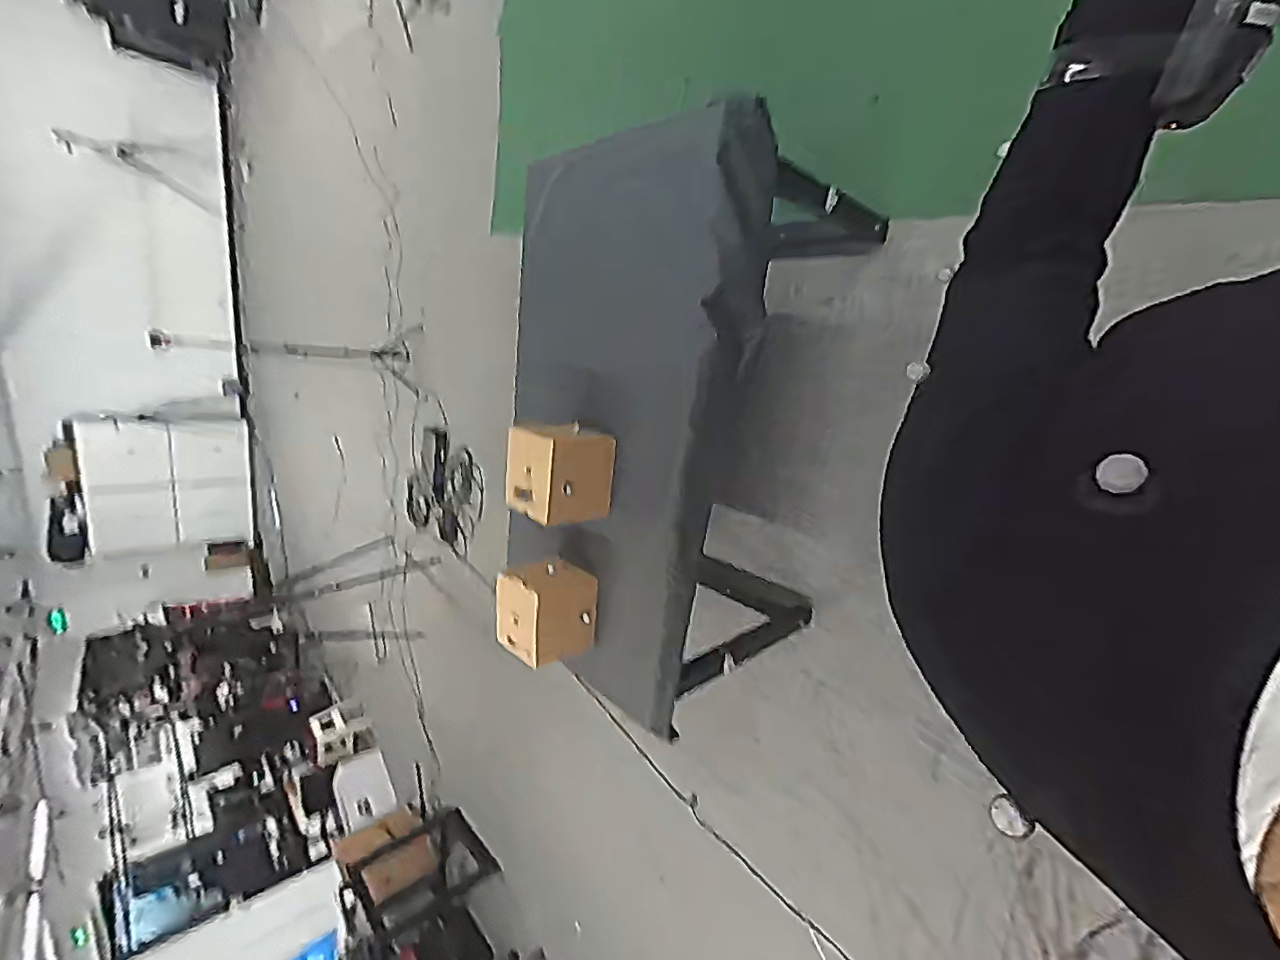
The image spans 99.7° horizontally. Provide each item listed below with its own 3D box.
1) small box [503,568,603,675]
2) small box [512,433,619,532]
[{"bbox_3d":[-0.203,0.319,1.267,0.168,0.176,0.179,14,104,44],"label":"small box"},{"bbox_3d":[-0.162,-0.003,1.184,0.168,0.176,0.179,18,107,43],"label":"small box"}]
